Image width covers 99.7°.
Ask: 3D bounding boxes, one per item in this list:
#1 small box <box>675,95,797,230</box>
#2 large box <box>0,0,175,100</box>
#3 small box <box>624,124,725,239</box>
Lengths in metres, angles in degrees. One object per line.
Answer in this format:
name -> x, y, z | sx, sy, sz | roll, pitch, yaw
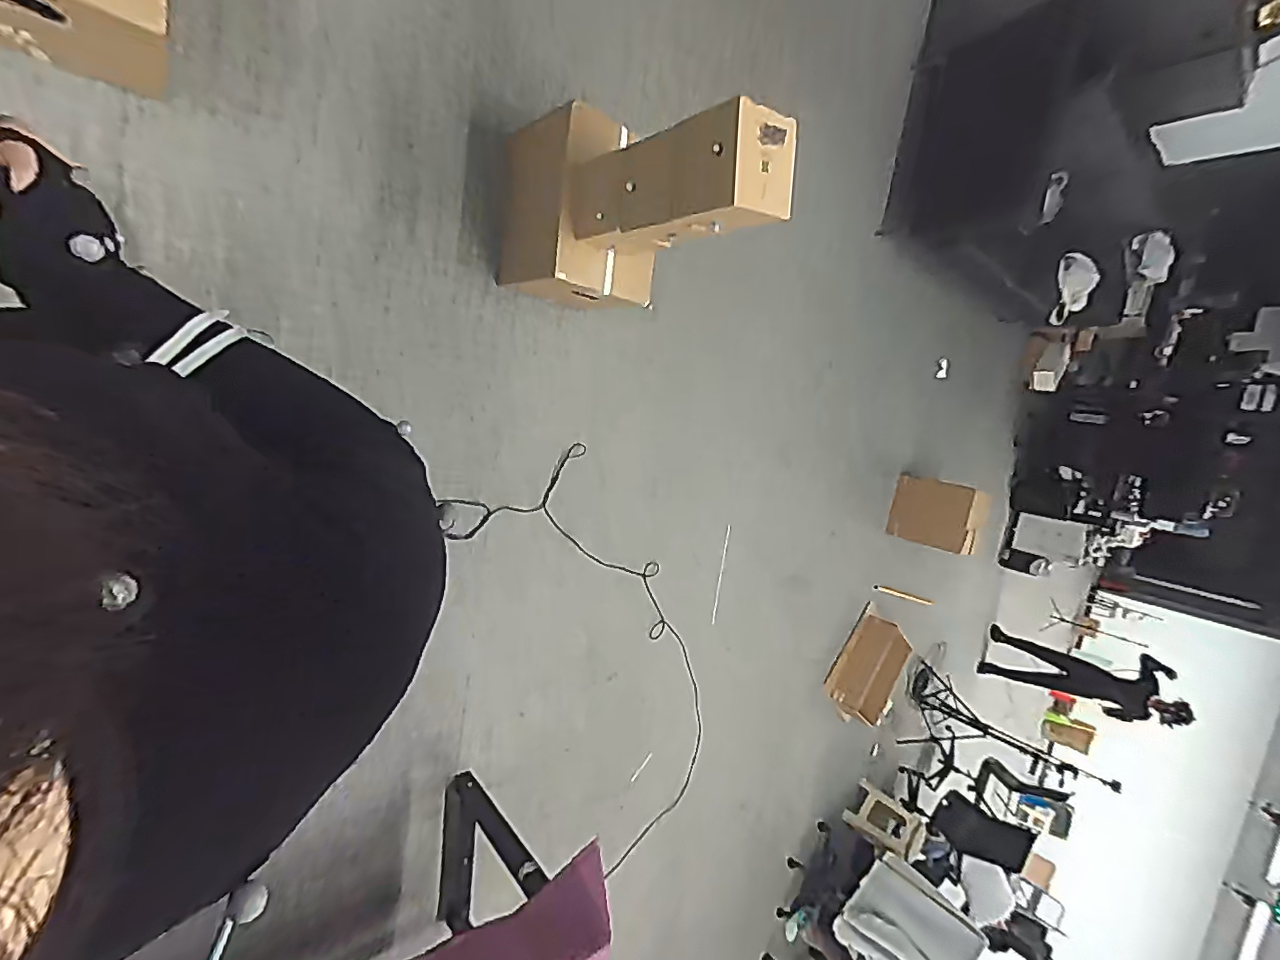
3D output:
small box -> 0.182, -0.601, 1.050 | 0.168, 0.176, 0.179 | -10, 108, -37
large box -> -0.900, -0.890, 0.803 | 0.320, 0.320, 0.408 | 1, 100, -41
small box -> 0.078, -0.633, 1.175 | 0.168, 0.176, 0.179 | -9, 108, -38
